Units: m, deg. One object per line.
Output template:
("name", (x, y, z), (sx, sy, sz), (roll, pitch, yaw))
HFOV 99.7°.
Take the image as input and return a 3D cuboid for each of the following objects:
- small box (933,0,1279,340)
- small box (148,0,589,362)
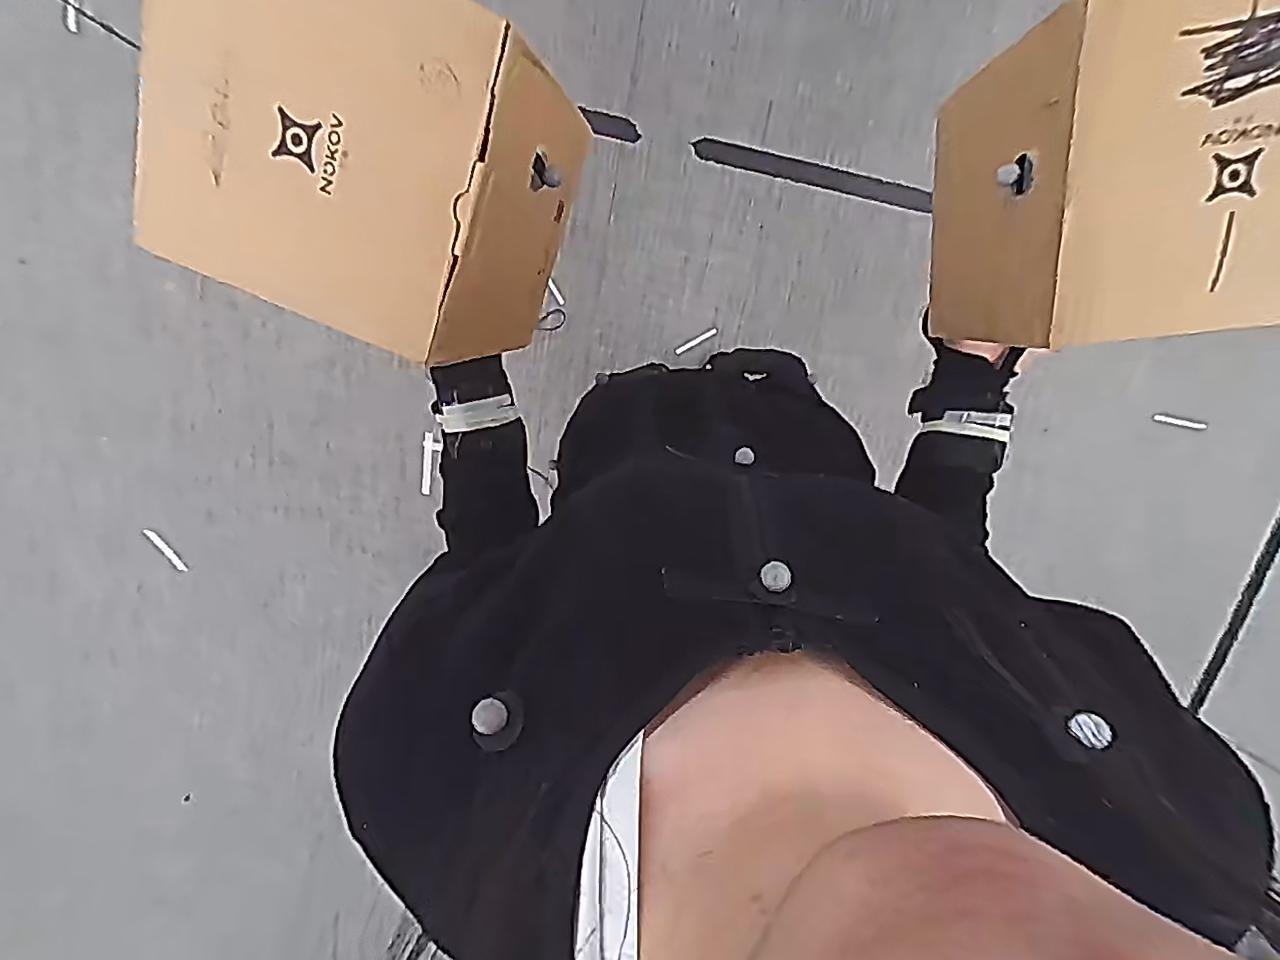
("small box", (0.314, -0.191, 0.355), (0.168, 0.176, 0.179), (-5, 107, 7))
("small box", (-0.148, -0.190, 0.342), (0.179, 0.176, 0.168), (22, 108, 1))
